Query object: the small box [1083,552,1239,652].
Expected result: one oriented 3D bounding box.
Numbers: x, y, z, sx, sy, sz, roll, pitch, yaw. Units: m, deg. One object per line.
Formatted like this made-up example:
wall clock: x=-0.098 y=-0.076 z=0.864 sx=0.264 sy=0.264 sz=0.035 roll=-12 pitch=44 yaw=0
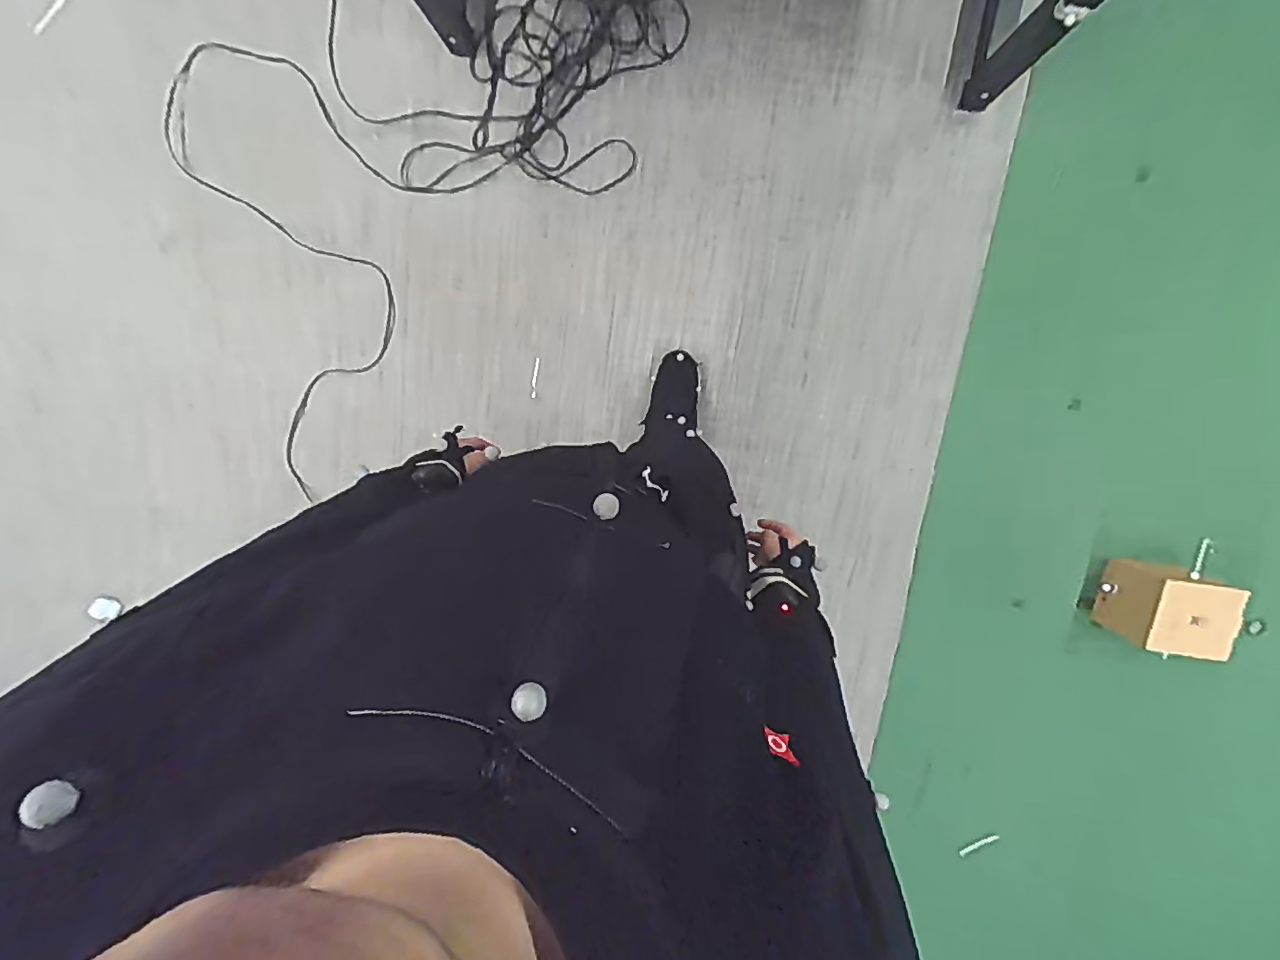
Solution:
small box: x=1.196 y=0.276 z=1.255 sx=0.179 sy=0.176 sz=0.168 roll=7 pitch=100 yaw=3
